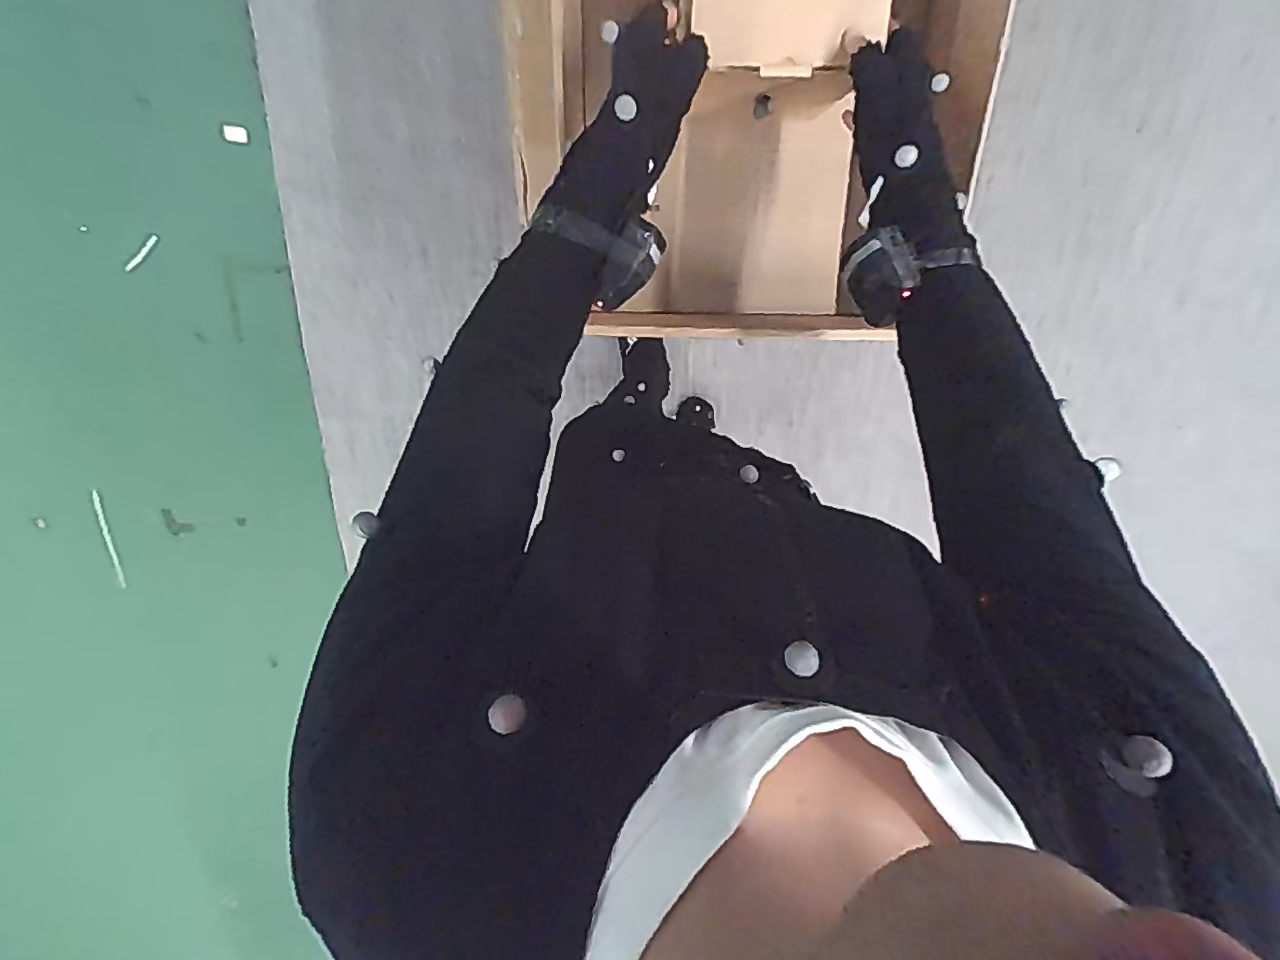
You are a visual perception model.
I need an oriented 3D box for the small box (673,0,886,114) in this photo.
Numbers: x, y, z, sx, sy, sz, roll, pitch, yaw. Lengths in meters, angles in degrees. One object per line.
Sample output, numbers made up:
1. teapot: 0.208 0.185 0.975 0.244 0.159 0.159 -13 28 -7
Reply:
1. small box: 0.120 -0.456 0.498 0.168 0.176 0.179 0 112 -1
